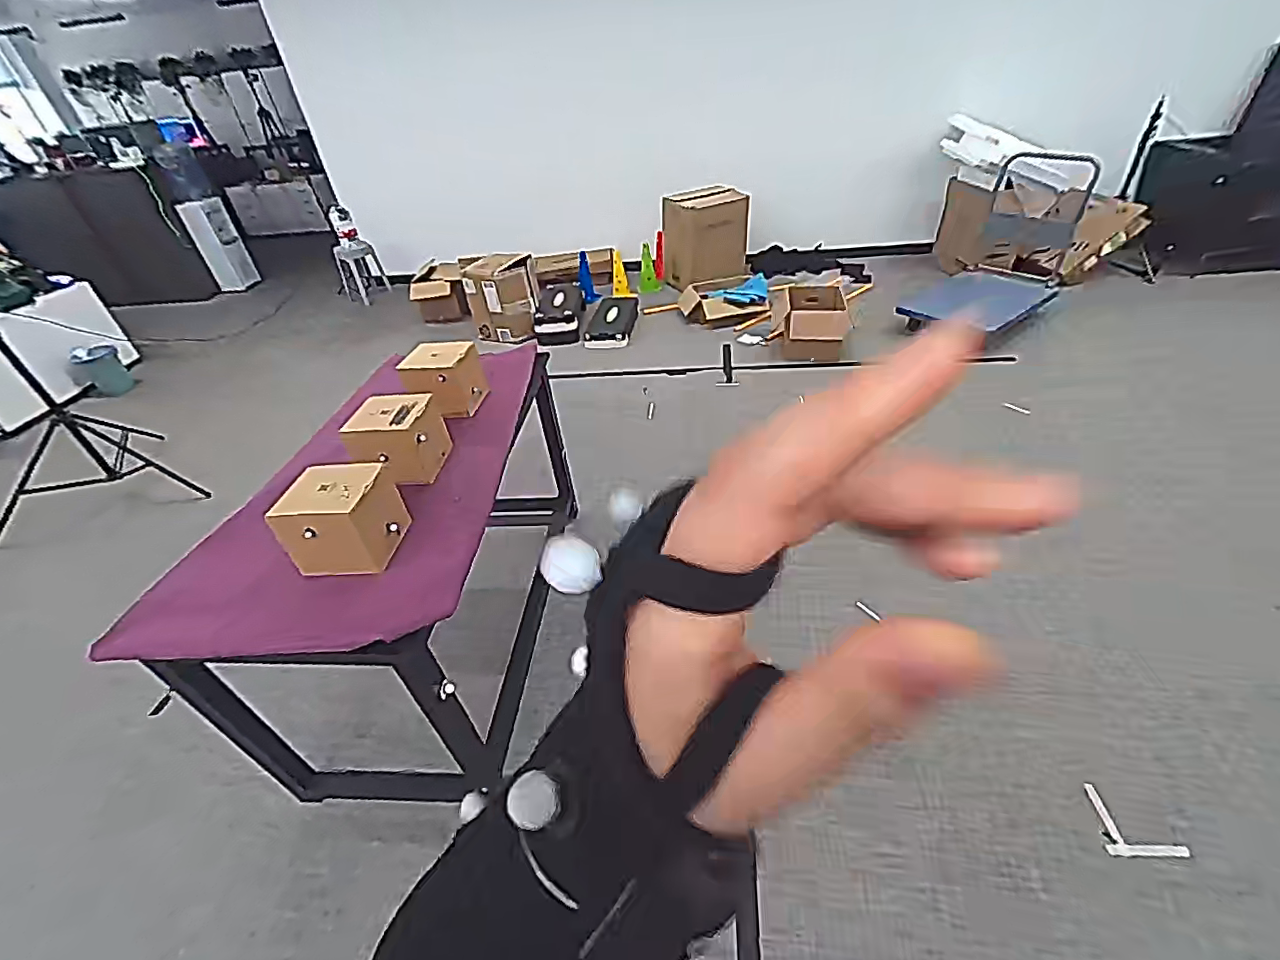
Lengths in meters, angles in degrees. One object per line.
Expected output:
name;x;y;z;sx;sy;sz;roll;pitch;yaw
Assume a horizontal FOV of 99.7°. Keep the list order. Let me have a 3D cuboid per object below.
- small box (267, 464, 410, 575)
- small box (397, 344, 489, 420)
small box;-0.616;0.084;1.130;0.179;0.176;0.168;-2;37;5
small box;-0.575;-0.289;1.601;0.179;0.176;0.168;0;39;10
